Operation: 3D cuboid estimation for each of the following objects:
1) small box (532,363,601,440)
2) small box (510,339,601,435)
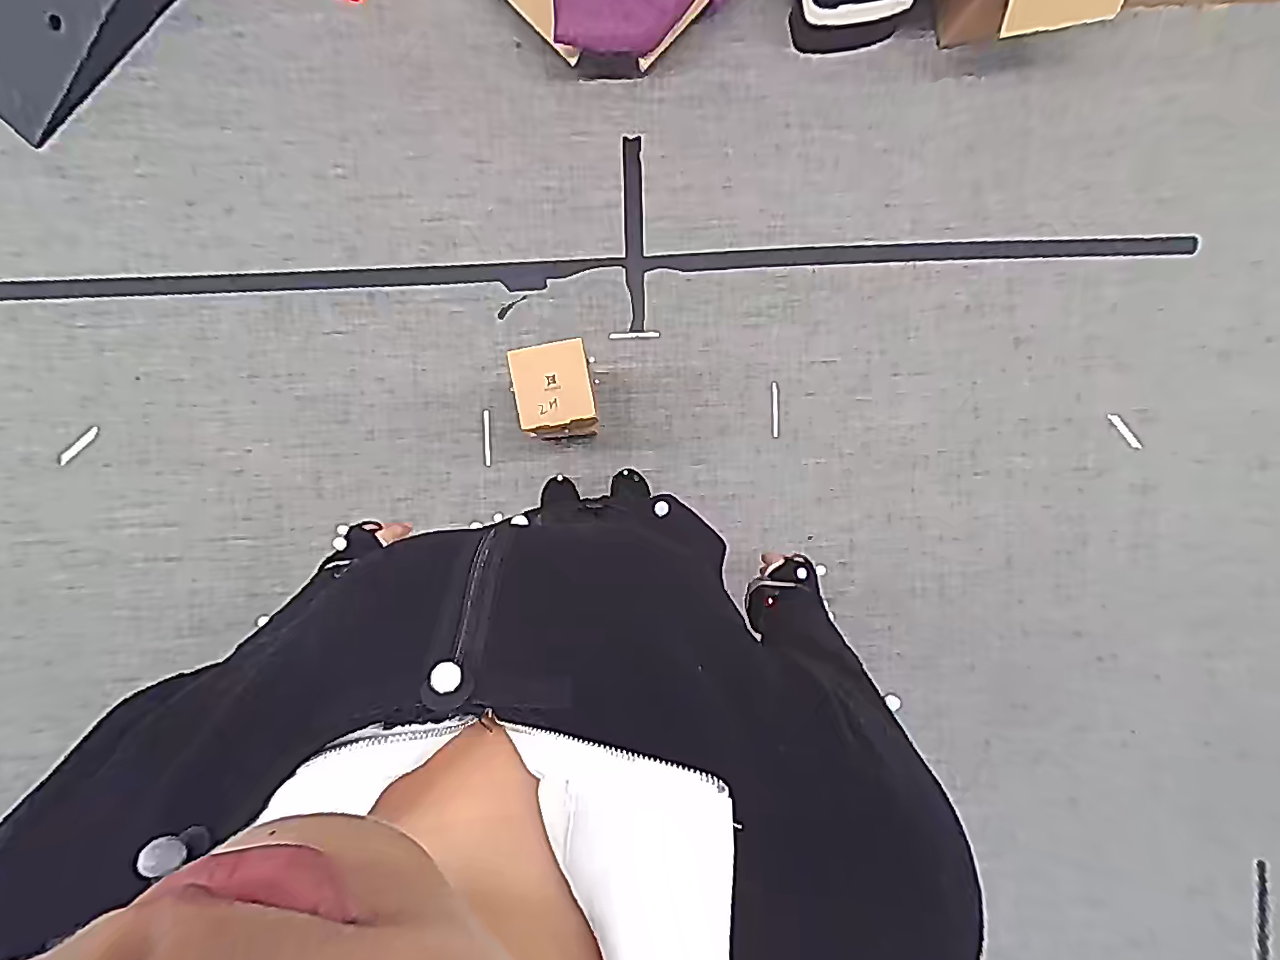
[{"bbox_3d":[-0.194,-0.199,1.406,0.168,0.176,0.179,-6,93,0],"label":"small box"},{"bbox_3d":[-0.187,-0.206,1.241,0.168,0.176,0.179,-10,92,0],"label":"small box"}]
